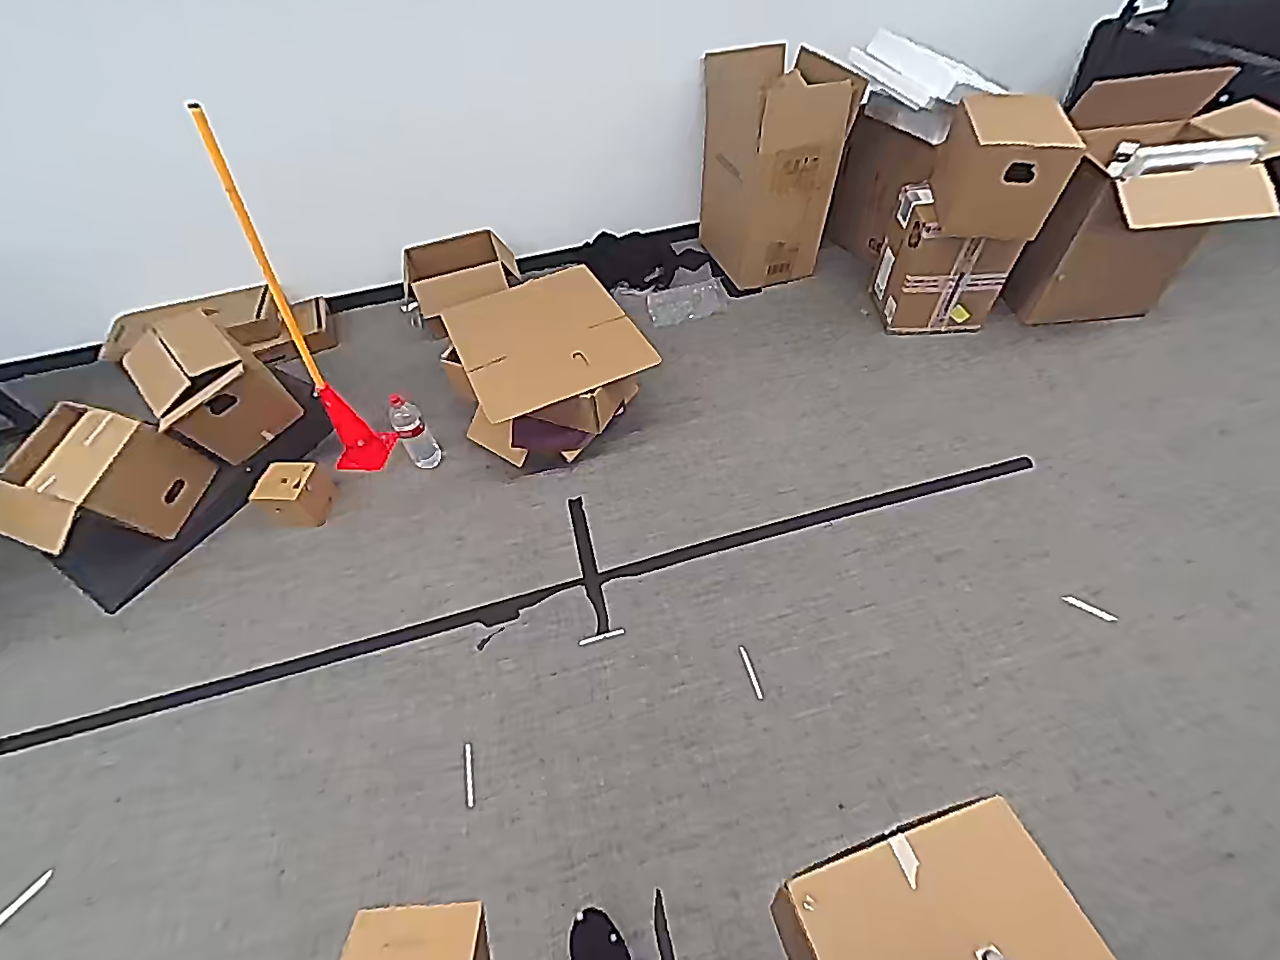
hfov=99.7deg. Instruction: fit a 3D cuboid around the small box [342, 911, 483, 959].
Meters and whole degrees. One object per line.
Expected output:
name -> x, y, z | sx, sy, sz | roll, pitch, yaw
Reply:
small box -> -0.291, 0.690, 0.676 | 0.168, 0.176, 0.179 | 0, 22, -5
